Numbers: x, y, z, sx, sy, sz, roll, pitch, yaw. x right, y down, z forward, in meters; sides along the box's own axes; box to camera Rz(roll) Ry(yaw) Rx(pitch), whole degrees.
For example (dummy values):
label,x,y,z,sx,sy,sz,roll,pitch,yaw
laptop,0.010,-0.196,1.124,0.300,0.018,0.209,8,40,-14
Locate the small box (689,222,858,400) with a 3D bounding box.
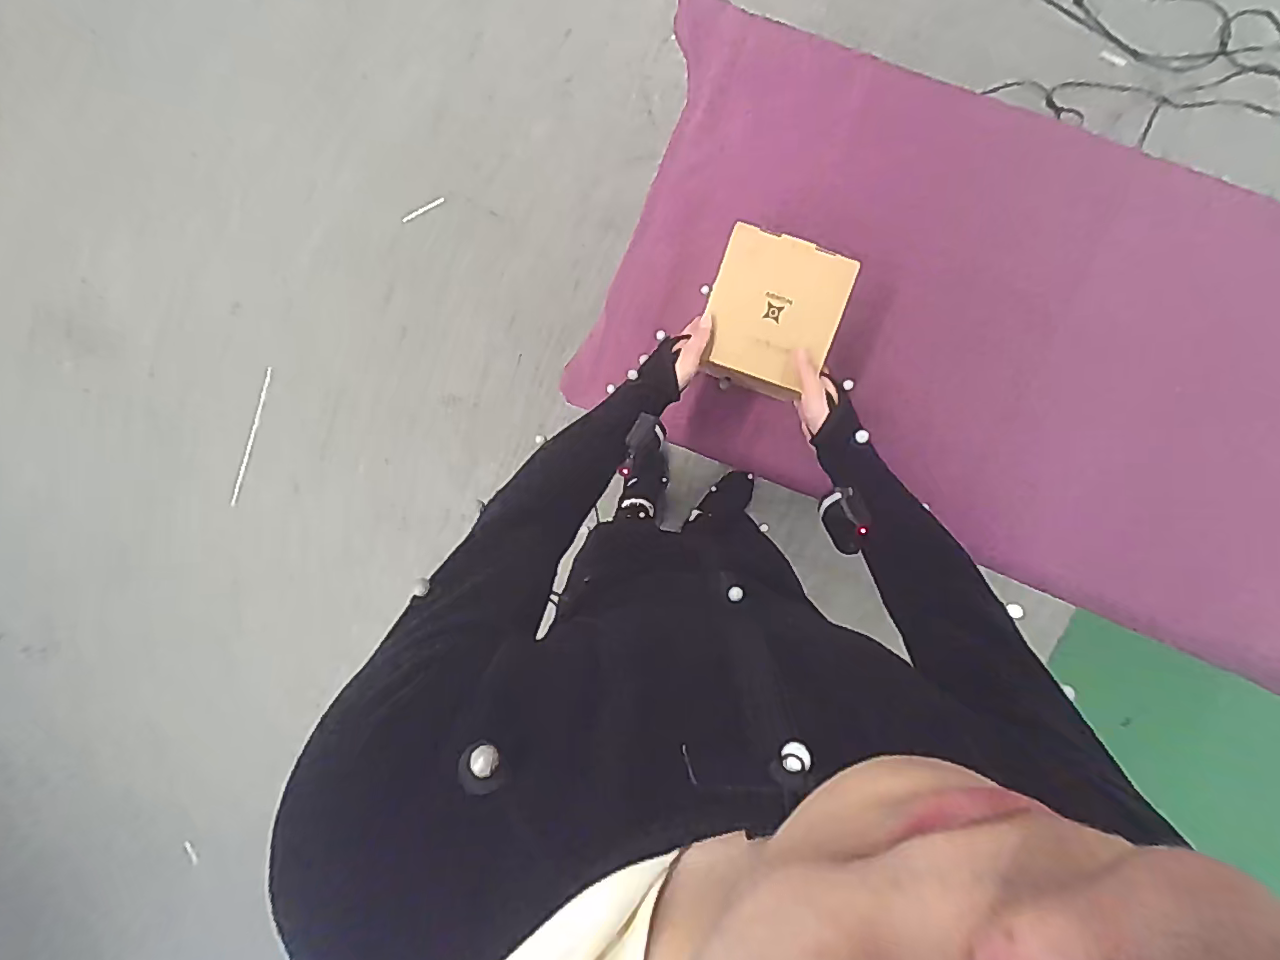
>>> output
label,x,y,z,sx,sy,sz,roll,pitch,yaw
small box,0.170,-0.220,0.753,0.168,0.176,0.179,20,98,2
